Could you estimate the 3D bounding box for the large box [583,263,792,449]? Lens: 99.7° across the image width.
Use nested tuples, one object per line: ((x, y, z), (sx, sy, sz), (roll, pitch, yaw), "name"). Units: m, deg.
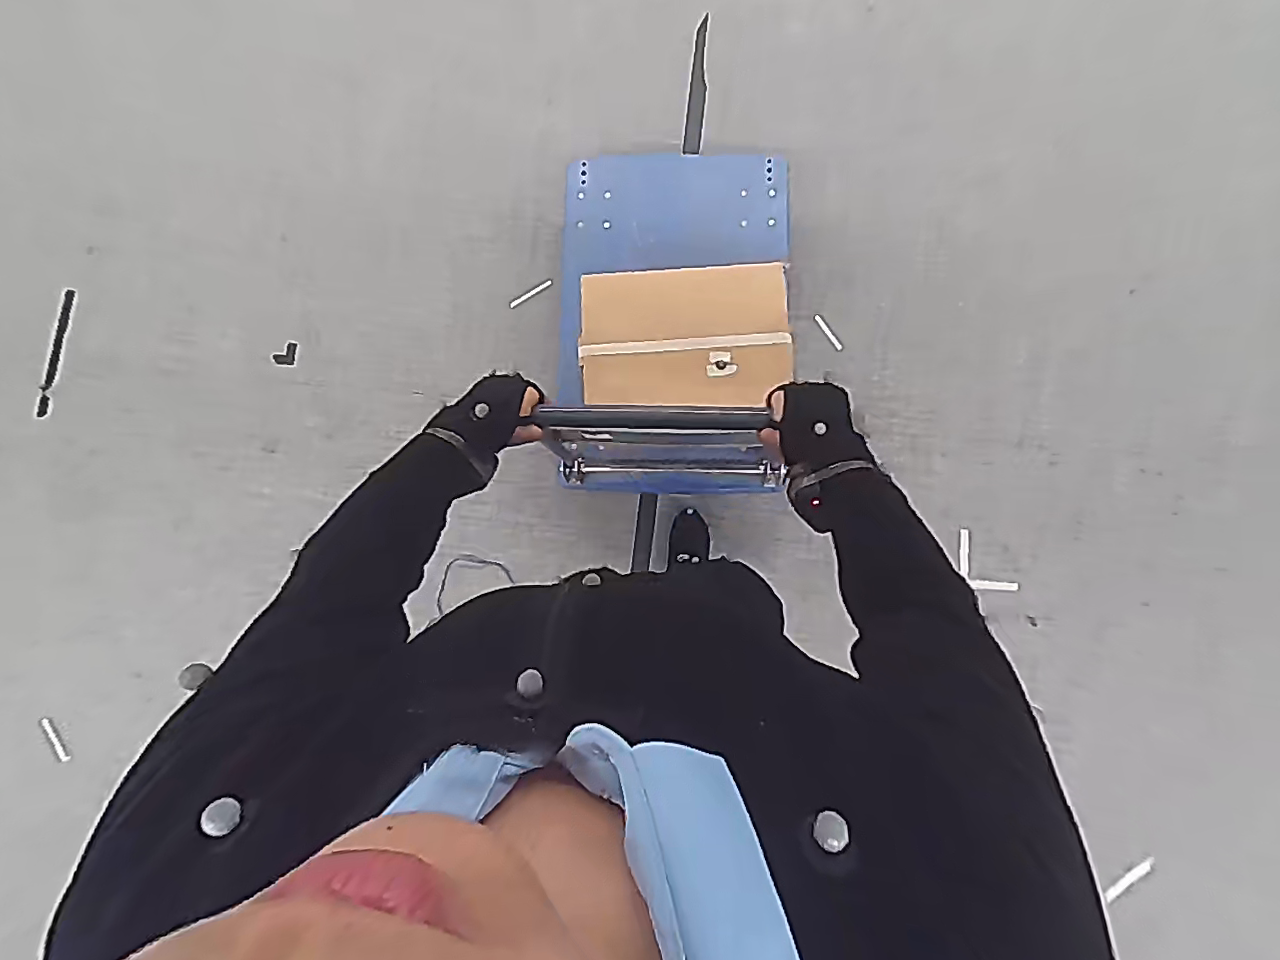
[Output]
((0.095, -0.255, 1.216), (0.408, 0.320, 0.320), (-3, 85, 2), "large box")
